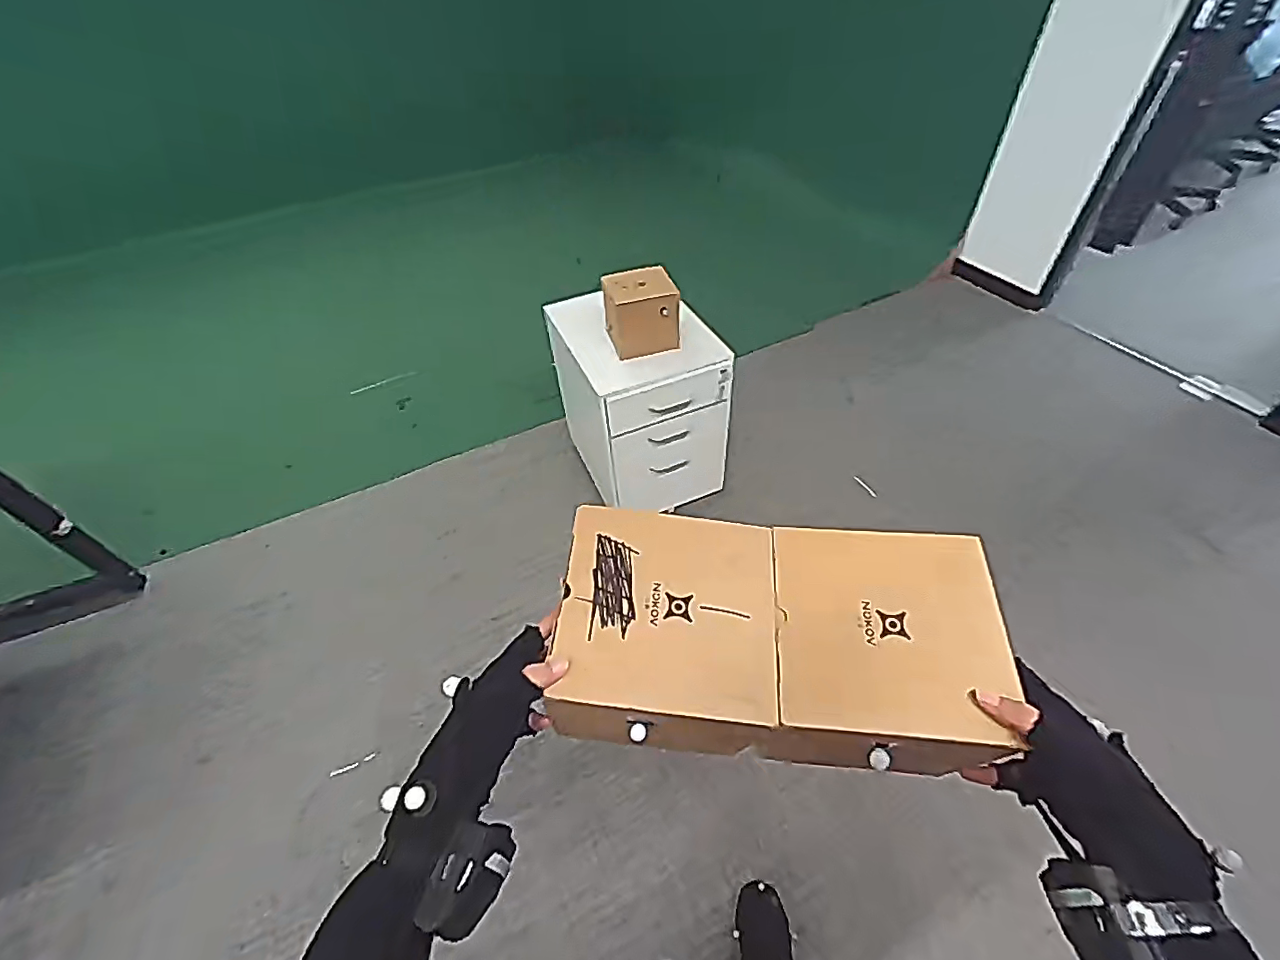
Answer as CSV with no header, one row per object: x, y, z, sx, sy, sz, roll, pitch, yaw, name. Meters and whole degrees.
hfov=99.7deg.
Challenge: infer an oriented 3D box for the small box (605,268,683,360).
0.010,-0.454,1.485,0.179,0.176,0.168,-14,47,-8,small box
